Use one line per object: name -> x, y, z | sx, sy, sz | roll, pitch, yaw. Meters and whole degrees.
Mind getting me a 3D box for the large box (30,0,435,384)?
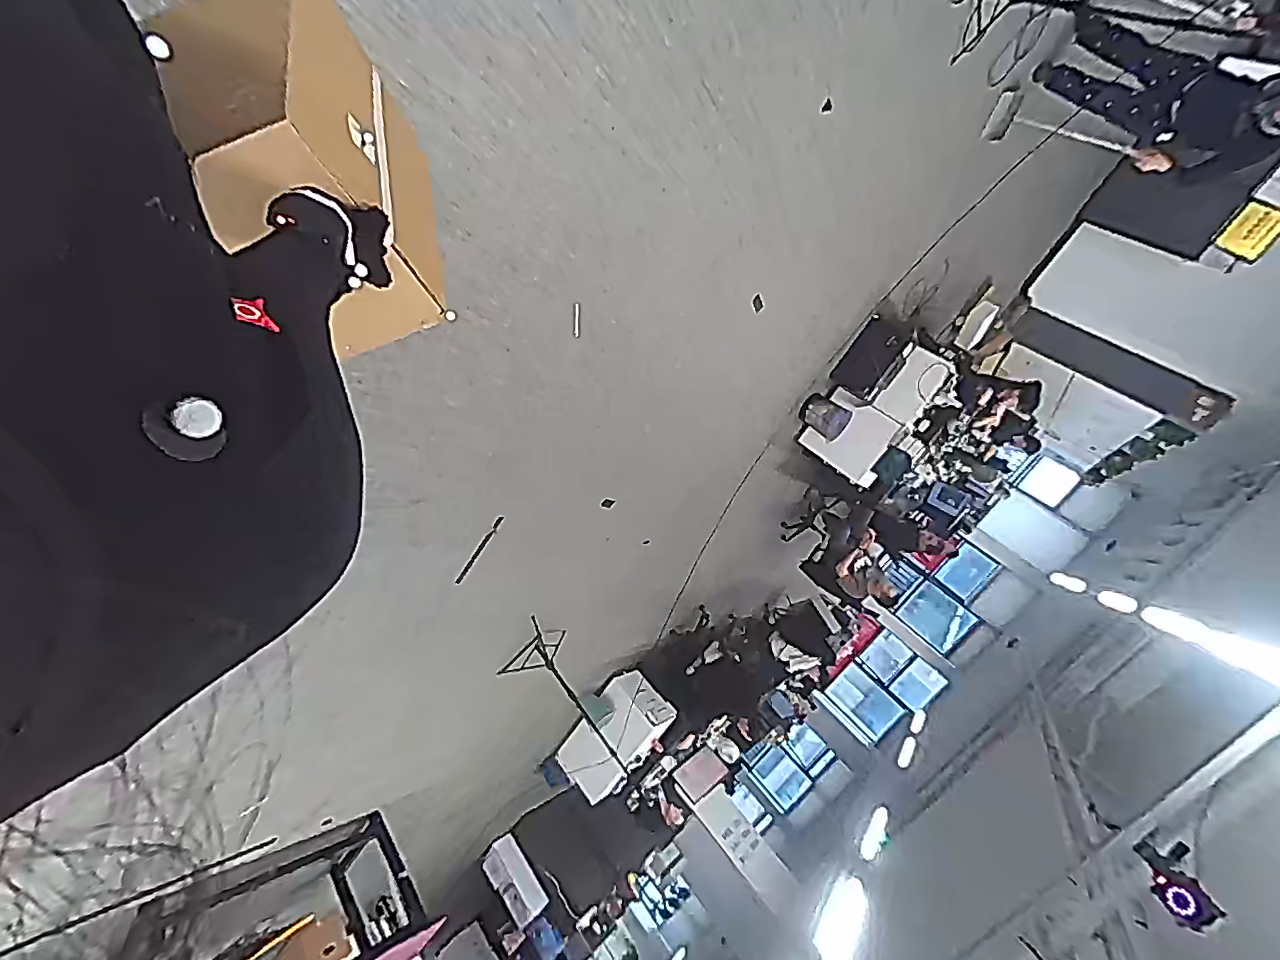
large box -> -0.530, -0.418, 0.778 | 0.320, 0.408, 0.320 | -18, 154, 6
